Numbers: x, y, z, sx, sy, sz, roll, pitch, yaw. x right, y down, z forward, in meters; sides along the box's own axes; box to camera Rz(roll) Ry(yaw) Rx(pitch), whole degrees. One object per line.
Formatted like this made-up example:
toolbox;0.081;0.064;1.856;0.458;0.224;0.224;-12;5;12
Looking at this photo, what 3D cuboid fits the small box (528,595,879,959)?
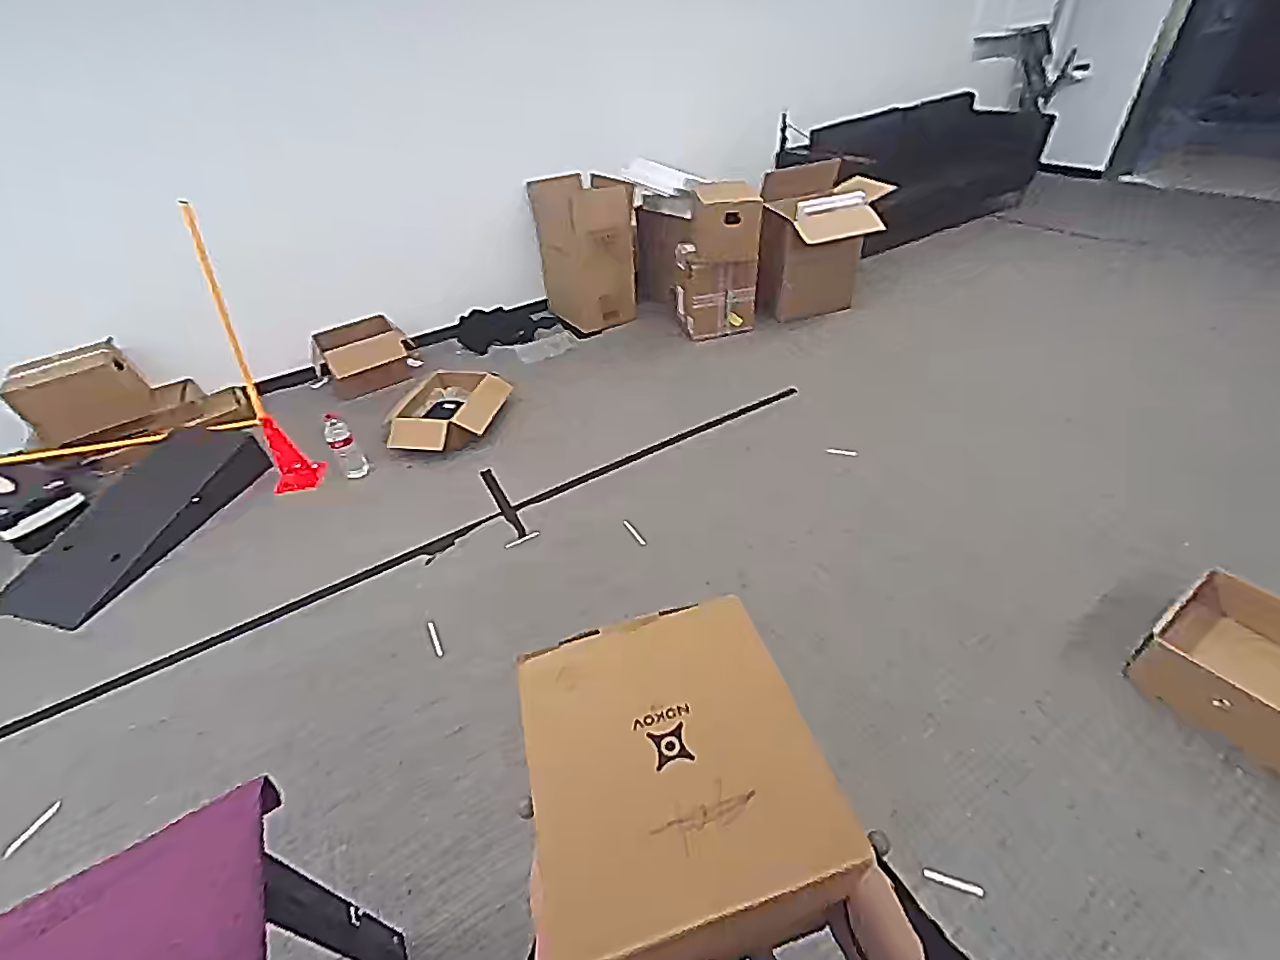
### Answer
small box;0.027;0.216;0.376;0.168;0.176;0.179;-14;42;-10
